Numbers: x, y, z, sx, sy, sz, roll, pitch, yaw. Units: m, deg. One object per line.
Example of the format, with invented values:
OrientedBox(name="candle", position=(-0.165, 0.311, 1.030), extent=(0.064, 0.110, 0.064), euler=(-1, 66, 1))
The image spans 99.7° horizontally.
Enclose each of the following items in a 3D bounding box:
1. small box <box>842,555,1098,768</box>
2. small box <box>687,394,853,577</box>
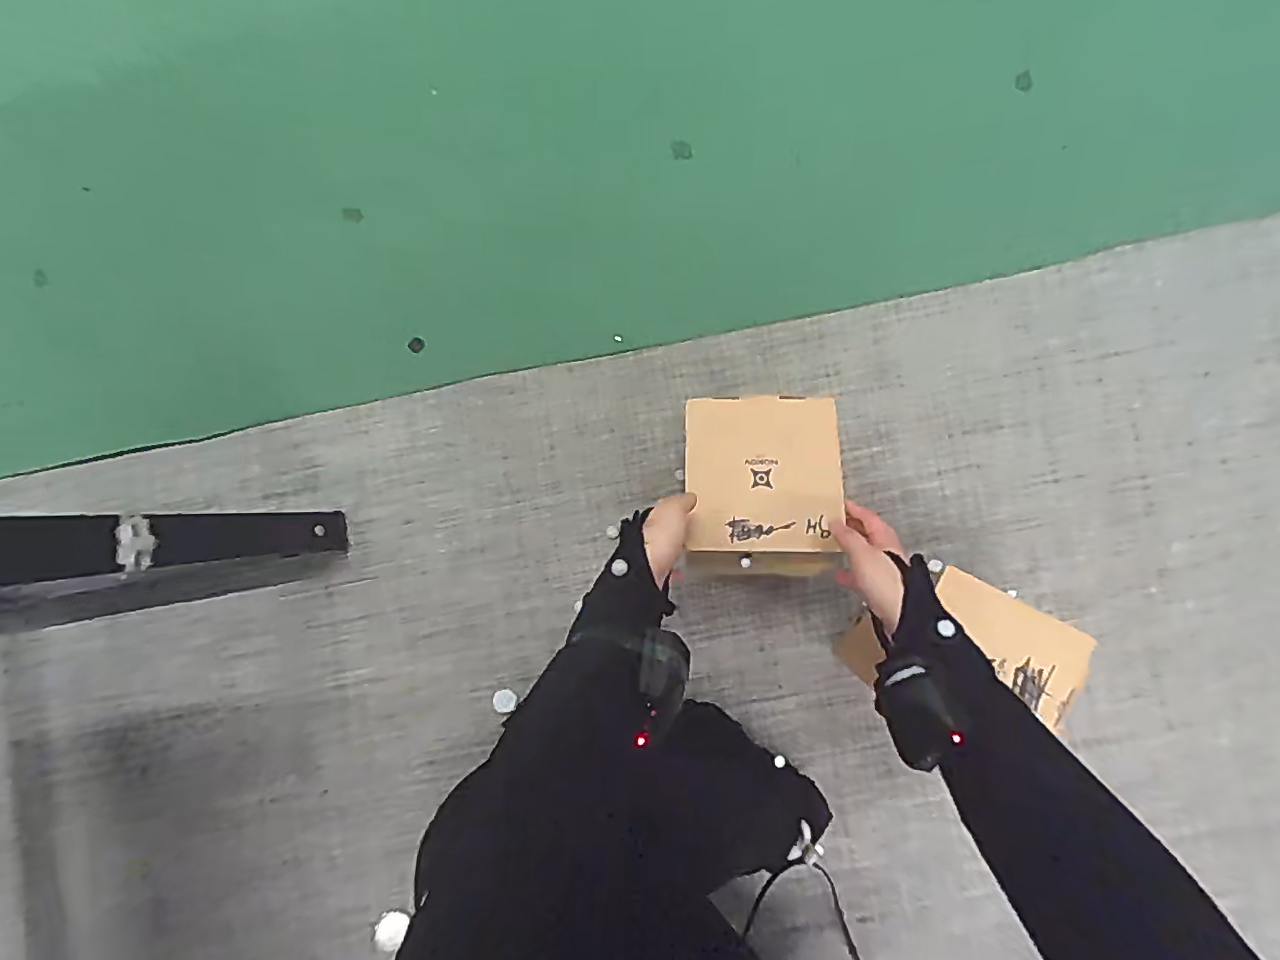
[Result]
OrientedBox(name="small box", position=(0.383, 0.202, 0.663), extent=(0.179, 0.176, 0.168), euler=(28, 89, 5))
OrientedBox(name="small box", position=(0.141, 0.014, 0.645), extent=(0.168, 0.176, 0.179), euler=(0, 72, 5))
